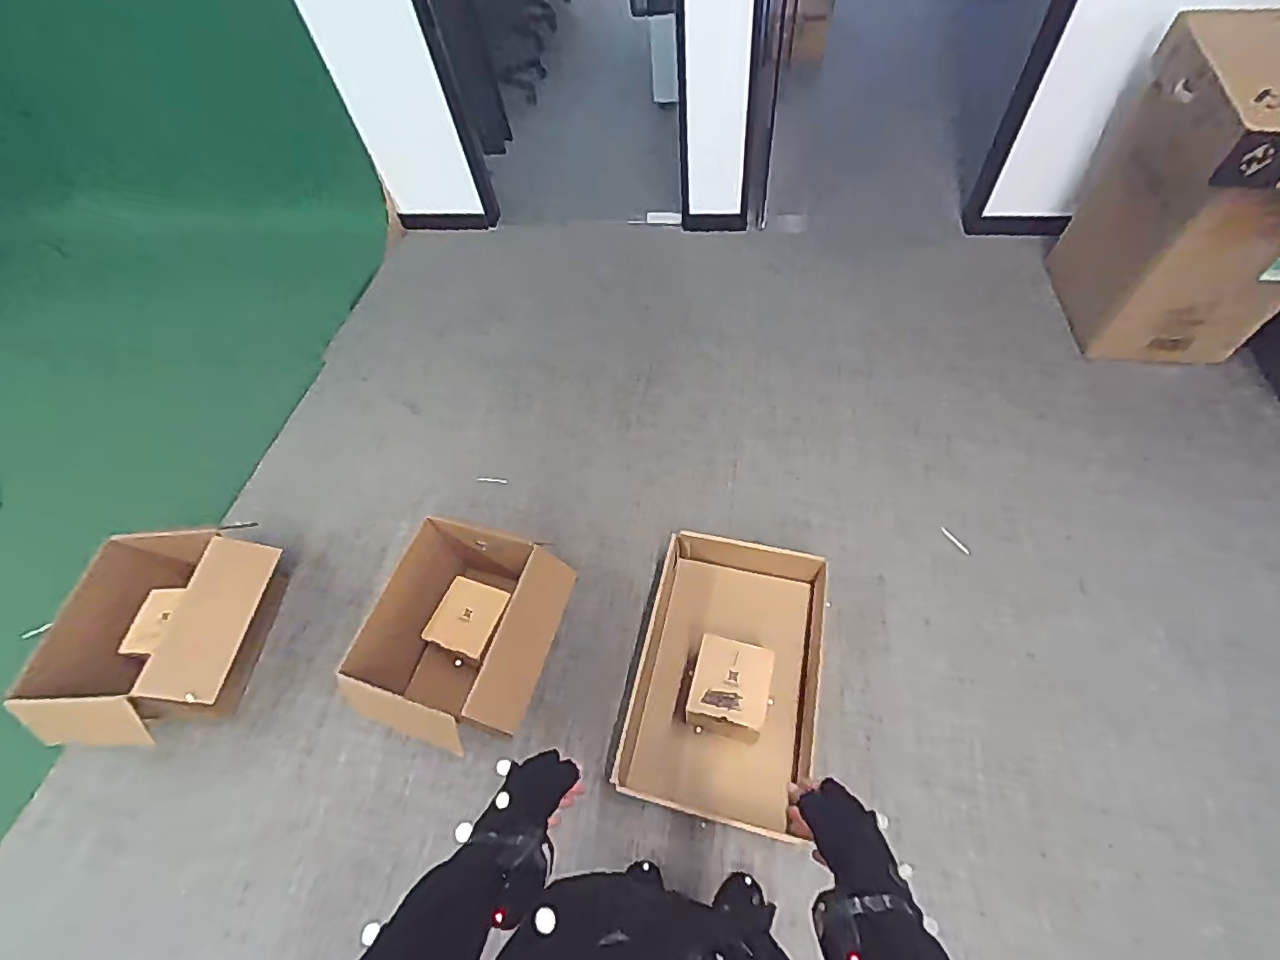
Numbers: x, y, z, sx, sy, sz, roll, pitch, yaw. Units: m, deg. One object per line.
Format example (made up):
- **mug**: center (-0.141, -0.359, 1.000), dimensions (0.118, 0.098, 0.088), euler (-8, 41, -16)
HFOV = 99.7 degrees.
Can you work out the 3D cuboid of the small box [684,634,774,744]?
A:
- **small box**: center (0.203, 0.484, 1.238), dimensions (0.168, 0.176, 0.179), euler (12, 56, 13)
